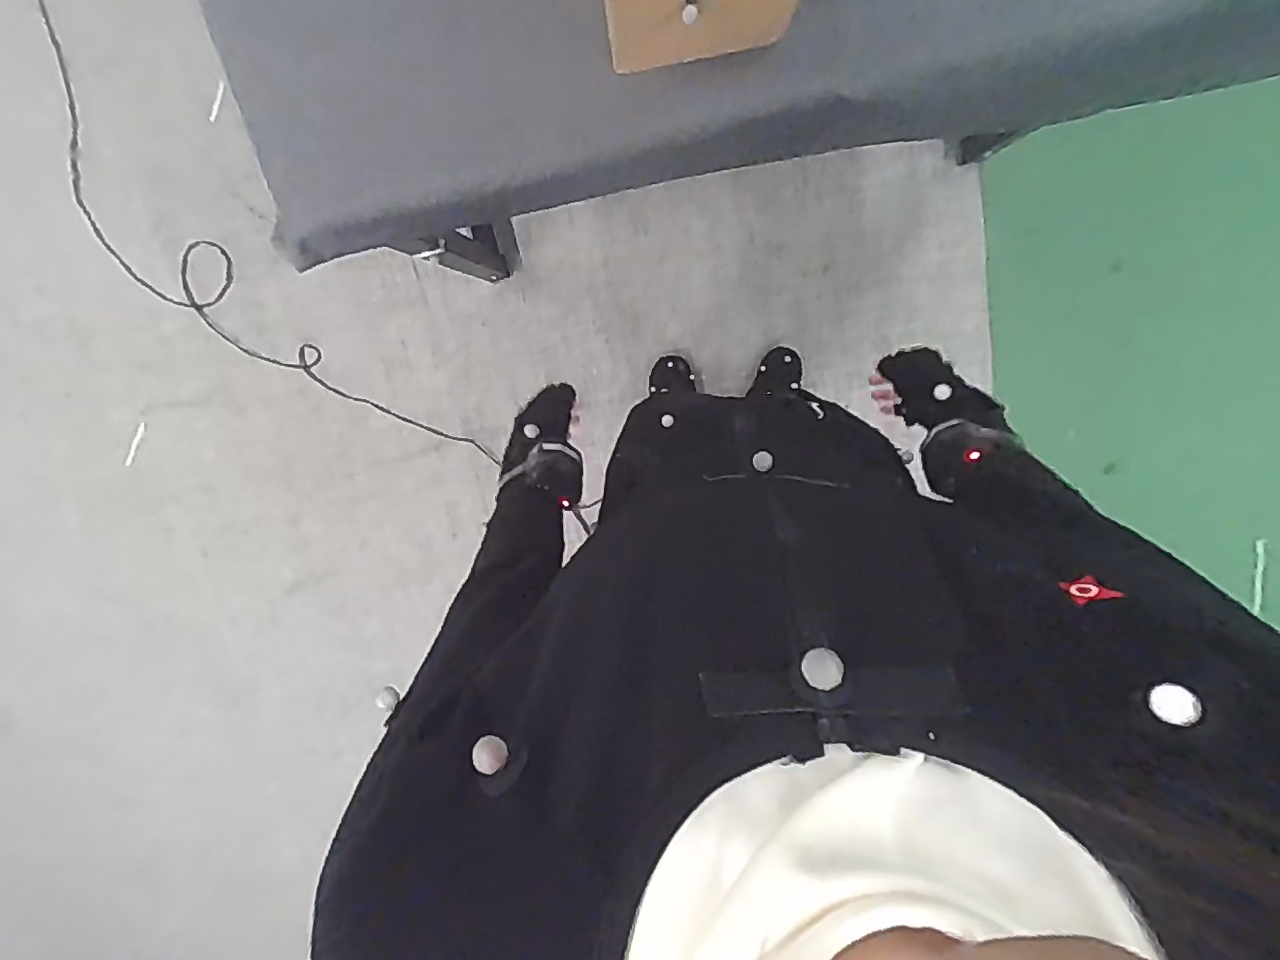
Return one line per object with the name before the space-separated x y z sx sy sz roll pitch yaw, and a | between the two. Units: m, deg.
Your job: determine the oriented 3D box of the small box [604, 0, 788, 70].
small box | 0.045 -0.502 0.477 0.179 0.176 0.168 -8 103 3
